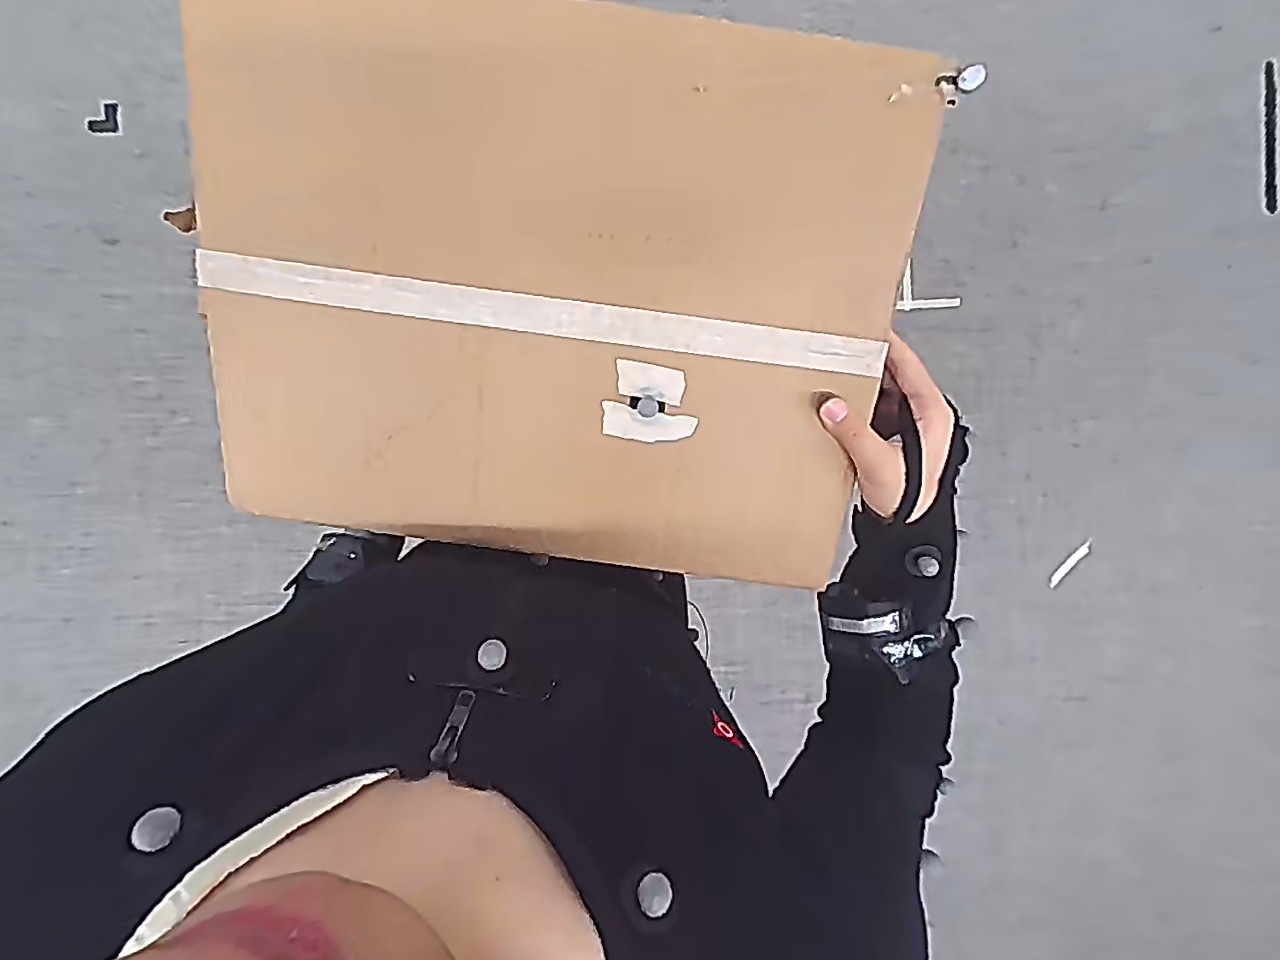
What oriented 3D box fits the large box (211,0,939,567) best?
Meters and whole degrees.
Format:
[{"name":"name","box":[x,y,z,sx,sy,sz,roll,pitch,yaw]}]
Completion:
[{"name":"large box","box":[-0.049,-0.144,0.475,0.408,0.320,0.320,7,108,-2]}]
